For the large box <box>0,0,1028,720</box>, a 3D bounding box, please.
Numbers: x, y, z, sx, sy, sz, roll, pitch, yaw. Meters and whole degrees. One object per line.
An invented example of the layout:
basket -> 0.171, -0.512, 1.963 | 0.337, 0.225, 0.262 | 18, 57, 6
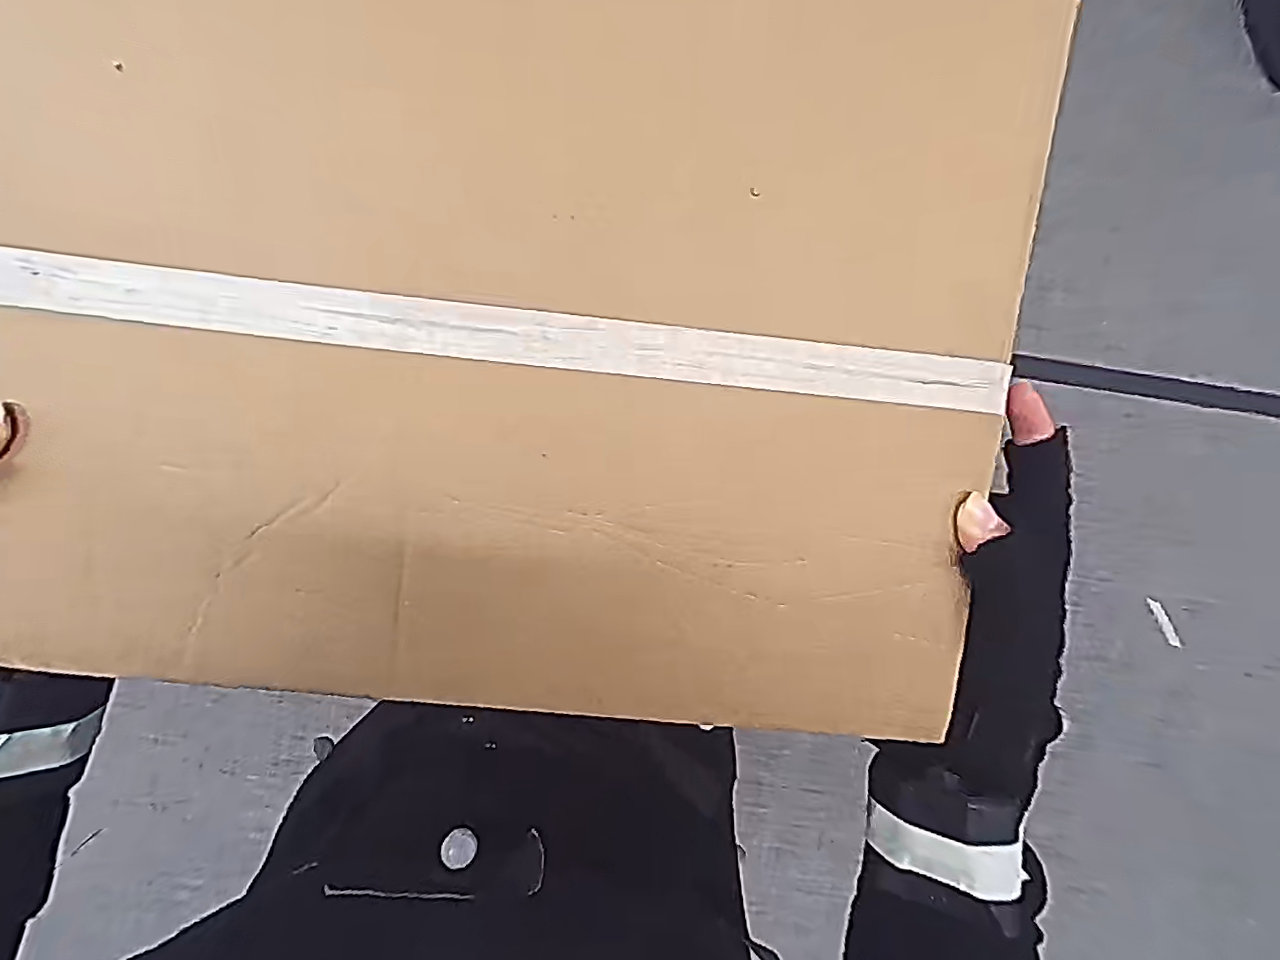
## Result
large box -> -0.056, -0.072, 0.374 | 0.408, 0.320, 0.320 | 6, 96, -3
